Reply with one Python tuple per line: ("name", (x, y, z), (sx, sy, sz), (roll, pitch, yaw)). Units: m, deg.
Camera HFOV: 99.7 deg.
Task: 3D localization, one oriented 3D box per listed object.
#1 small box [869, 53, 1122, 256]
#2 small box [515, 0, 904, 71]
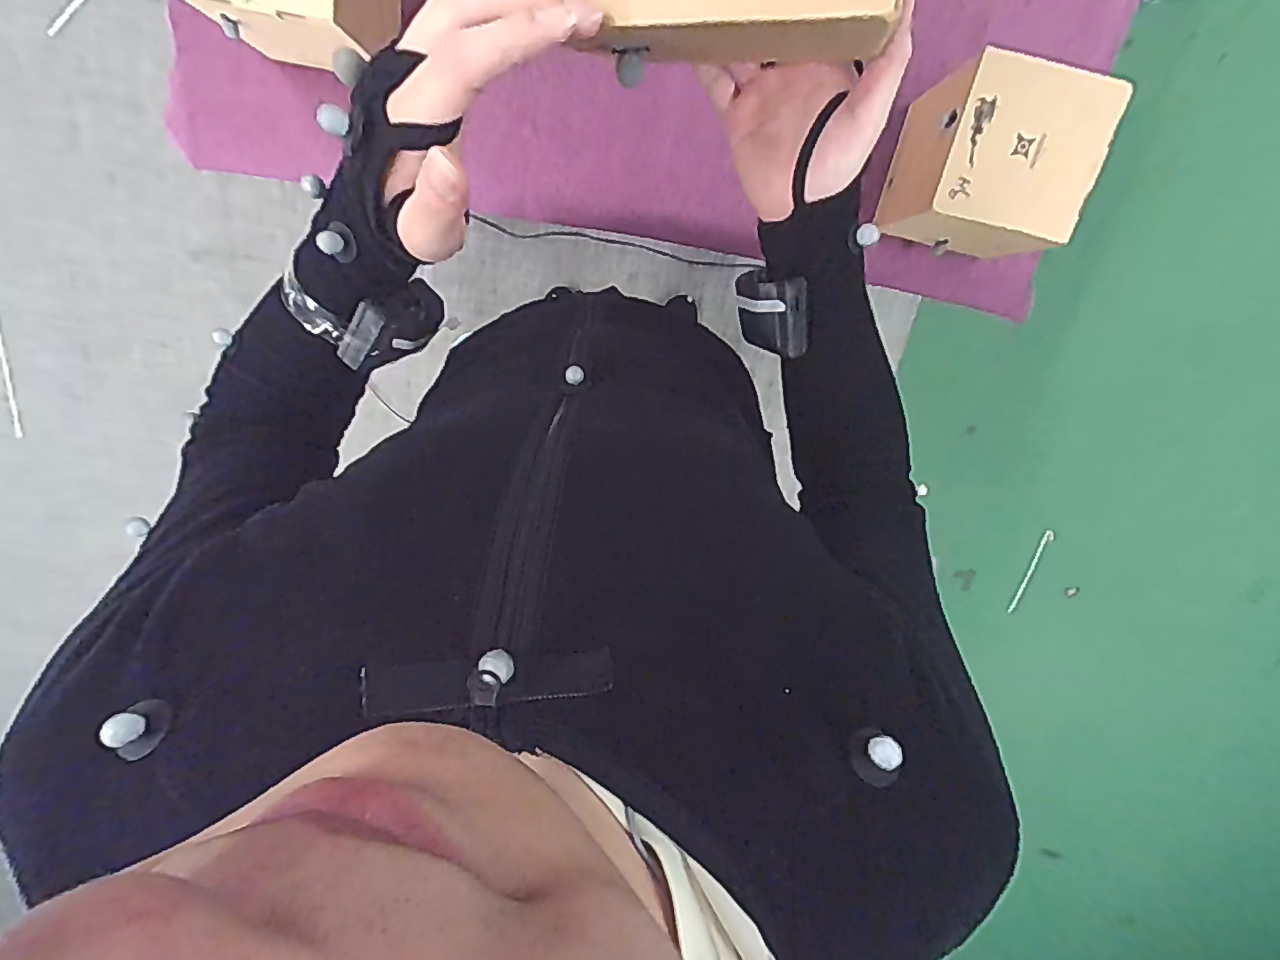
("small box", (0.430, -0.392, 0.688), (0.179, 0.176, 0.168), (12, 106, -5))
("small box", (0.040, -0.300, 0.241), (0.176, 0.168, 0.179), (10, 124, 14))
